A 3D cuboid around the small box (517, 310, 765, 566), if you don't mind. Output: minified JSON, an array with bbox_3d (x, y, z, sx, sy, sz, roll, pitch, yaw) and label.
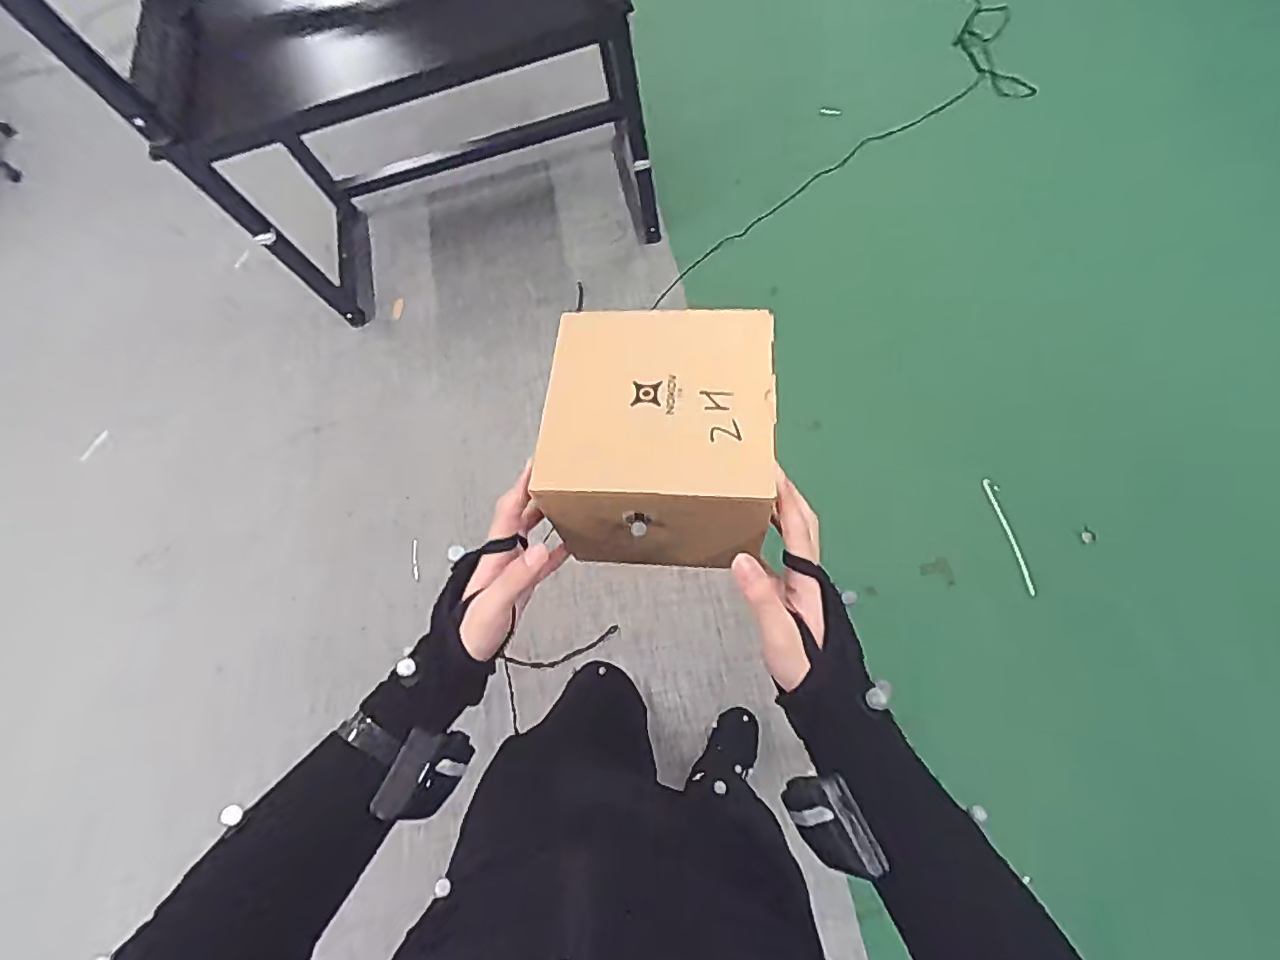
[{"bbox_3d":[0.014,-0.028,0.476,0.179,0.176,0.168,2,65,7],"label":"small box"}]
